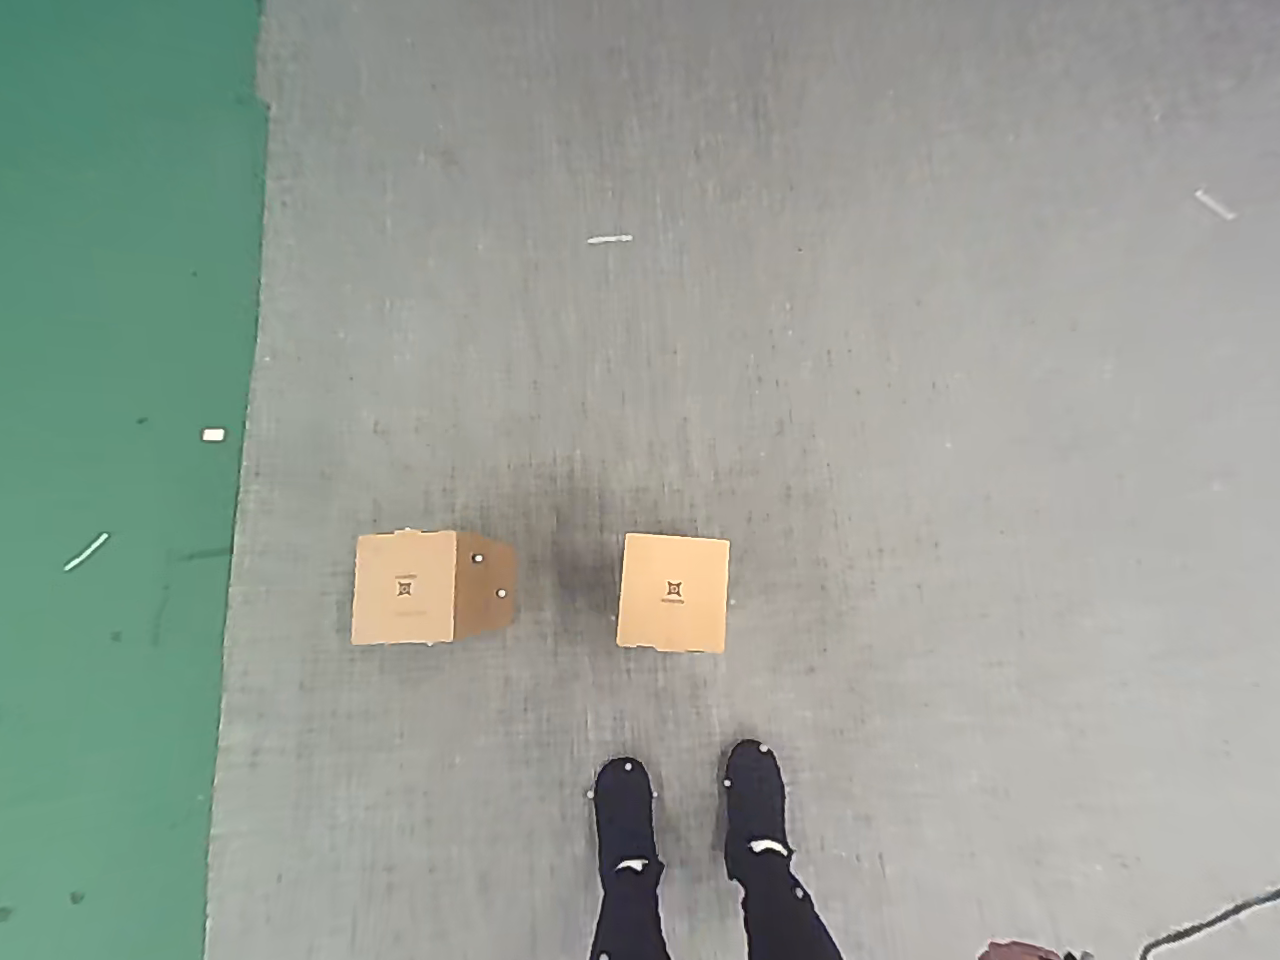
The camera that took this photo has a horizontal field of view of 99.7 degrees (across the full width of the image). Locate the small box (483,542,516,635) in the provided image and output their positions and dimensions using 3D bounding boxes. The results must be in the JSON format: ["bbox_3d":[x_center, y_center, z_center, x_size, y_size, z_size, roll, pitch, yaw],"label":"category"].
[{"bbox_3d":[-0.356,0.214,1.097,0.168,0.176,0.179,0,81,3],"label":"small box"}]

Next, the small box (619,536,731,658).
[{"bbox_3d":[0.058,0.193,0.915,0.168,0.176,0.179,4,81,4],"label":"small box"}]

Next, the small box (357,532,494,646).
[{"bbox_3d":[-0.361,0.187,0.937,0.168,0.176,0.179,-3,81,3],"label":"small box"}]
